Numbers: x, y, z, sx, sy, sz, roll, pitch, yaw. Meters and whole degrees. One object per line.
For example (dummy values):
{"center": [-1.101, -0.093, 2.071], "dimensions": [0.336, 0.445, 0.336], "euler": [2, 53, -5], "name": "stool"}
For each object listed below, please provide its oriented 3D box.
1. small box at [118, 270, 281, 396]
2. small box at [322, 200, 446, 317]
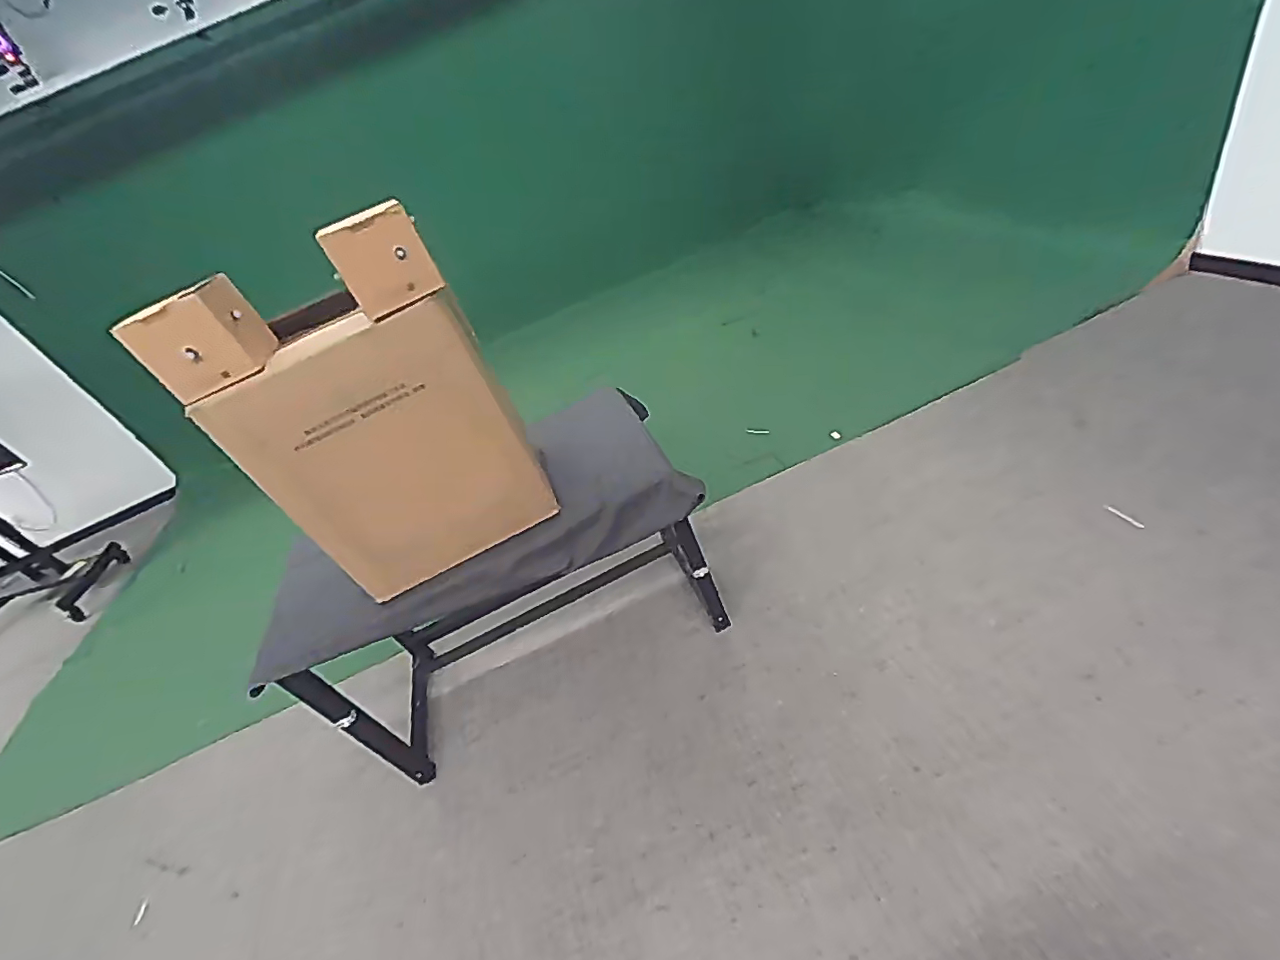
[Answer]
{"center": [-0.868, -0.292, 1.091], "dimensions": [0.168, 0.176, 0.179], "euler": [-26, 37, -3], "name": "small box"}
{"center": [-0.518, -0.453, 1.108], "dimensions": [0.168, 0.176, 0.179], "euler": [-29, 36, -12], "name": "small box"}
